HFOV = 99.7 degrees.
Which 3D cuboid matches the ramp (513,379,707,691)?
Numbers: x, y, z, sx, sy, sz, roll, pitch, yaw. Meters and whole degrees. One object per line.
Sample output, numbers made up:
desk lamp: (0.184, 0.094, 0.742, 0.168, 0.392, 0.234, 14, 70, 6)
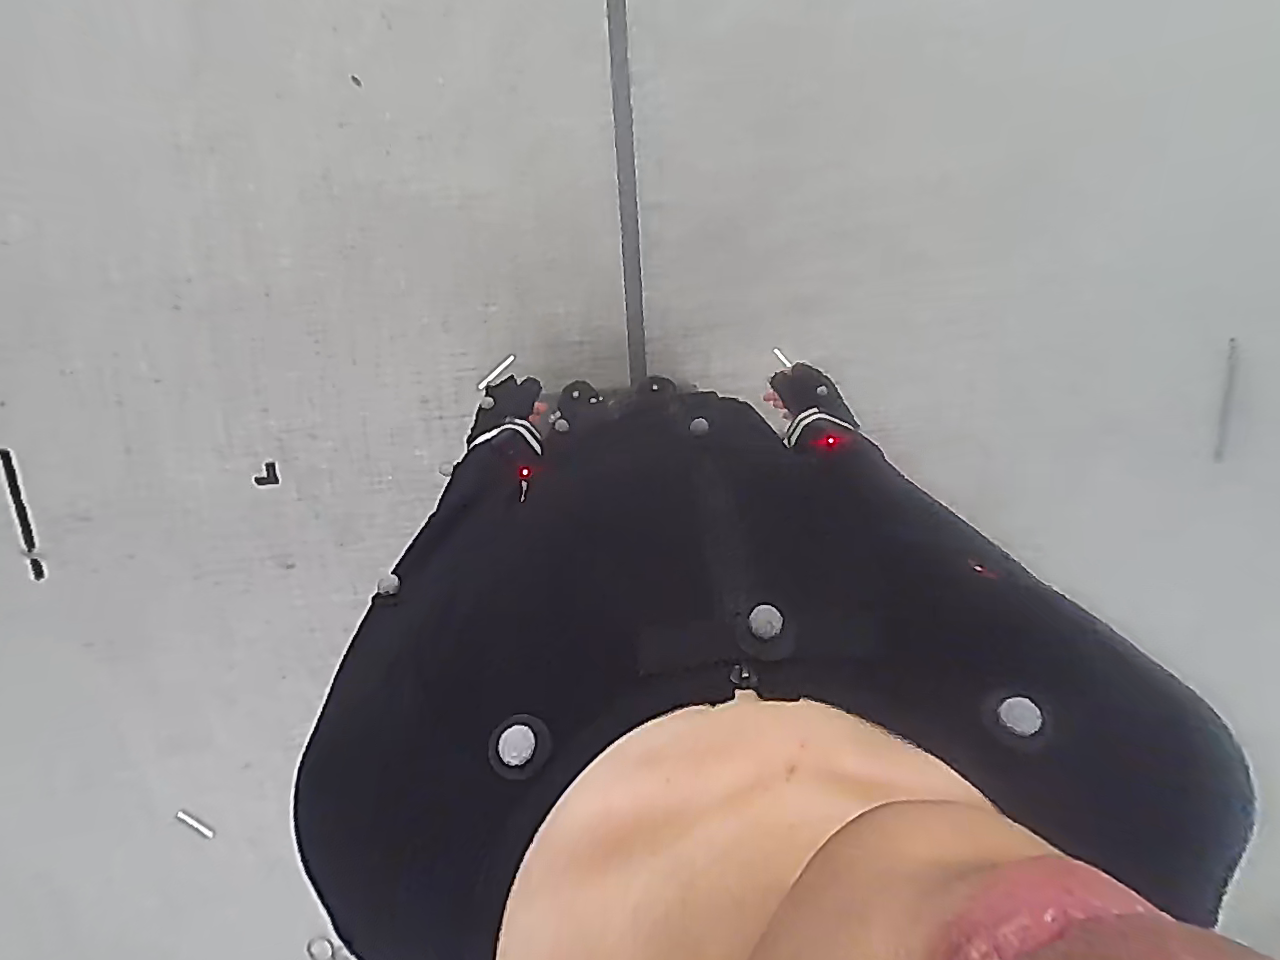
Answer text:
ramp: (-0.053, 0.214, 1.613, 0.509, 0.206, 0.991, -7, 102, -2)
